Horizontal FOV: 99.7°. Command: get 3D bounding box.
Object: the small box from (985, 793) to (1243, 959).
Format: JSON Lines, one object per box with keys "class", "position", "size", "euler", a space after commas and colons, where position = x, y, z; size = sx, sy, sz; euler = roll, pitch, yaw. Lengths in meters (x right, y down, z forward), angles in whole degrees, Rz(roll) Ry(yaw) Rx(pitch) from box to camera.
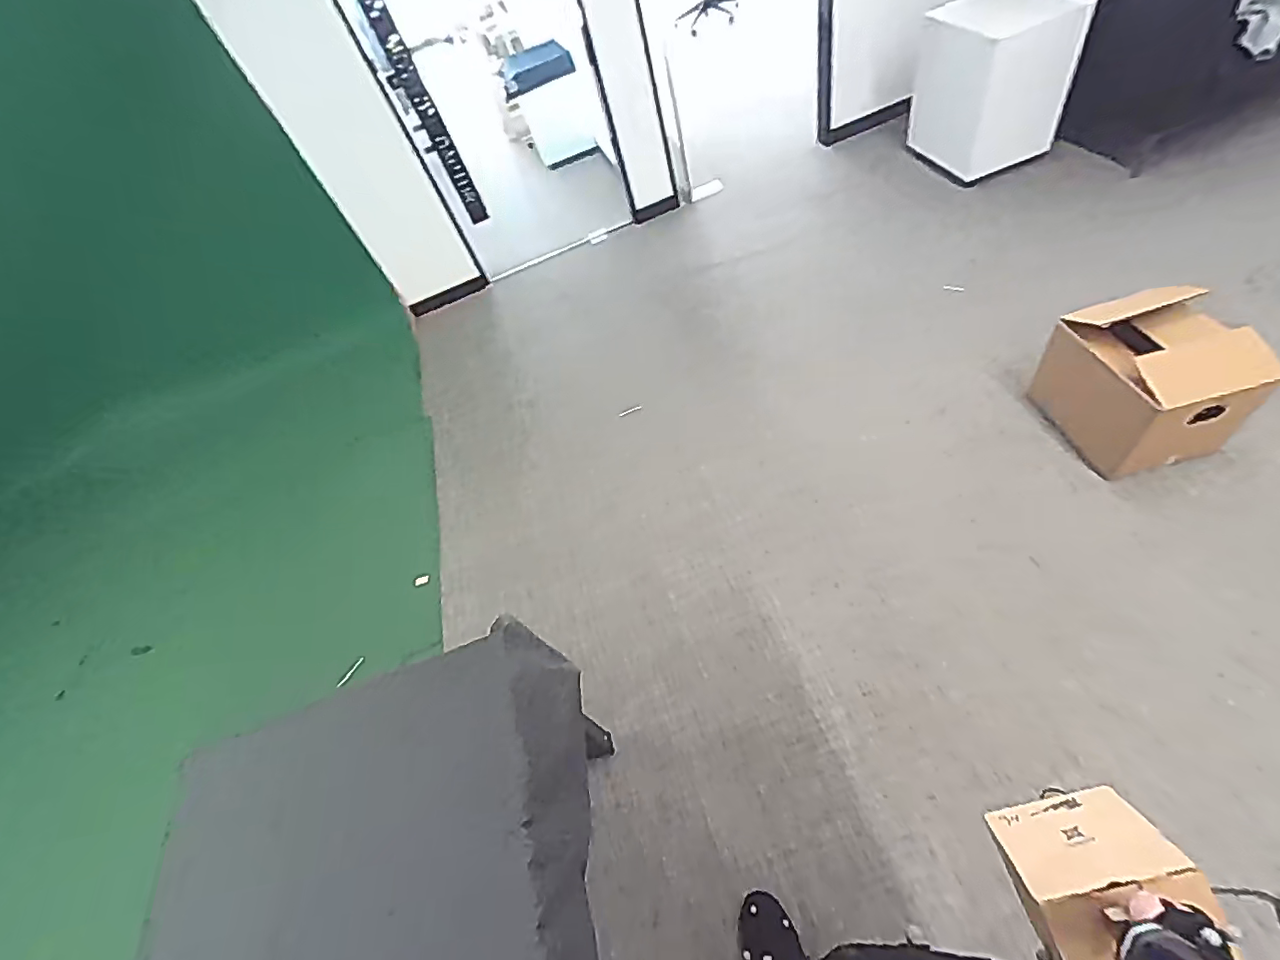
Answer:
{"class": "small box", "position": [0.569, 0.525, 0.652], "size": [0.168, 0.179, 0.176], "euler": [-25, 80, 11]}
